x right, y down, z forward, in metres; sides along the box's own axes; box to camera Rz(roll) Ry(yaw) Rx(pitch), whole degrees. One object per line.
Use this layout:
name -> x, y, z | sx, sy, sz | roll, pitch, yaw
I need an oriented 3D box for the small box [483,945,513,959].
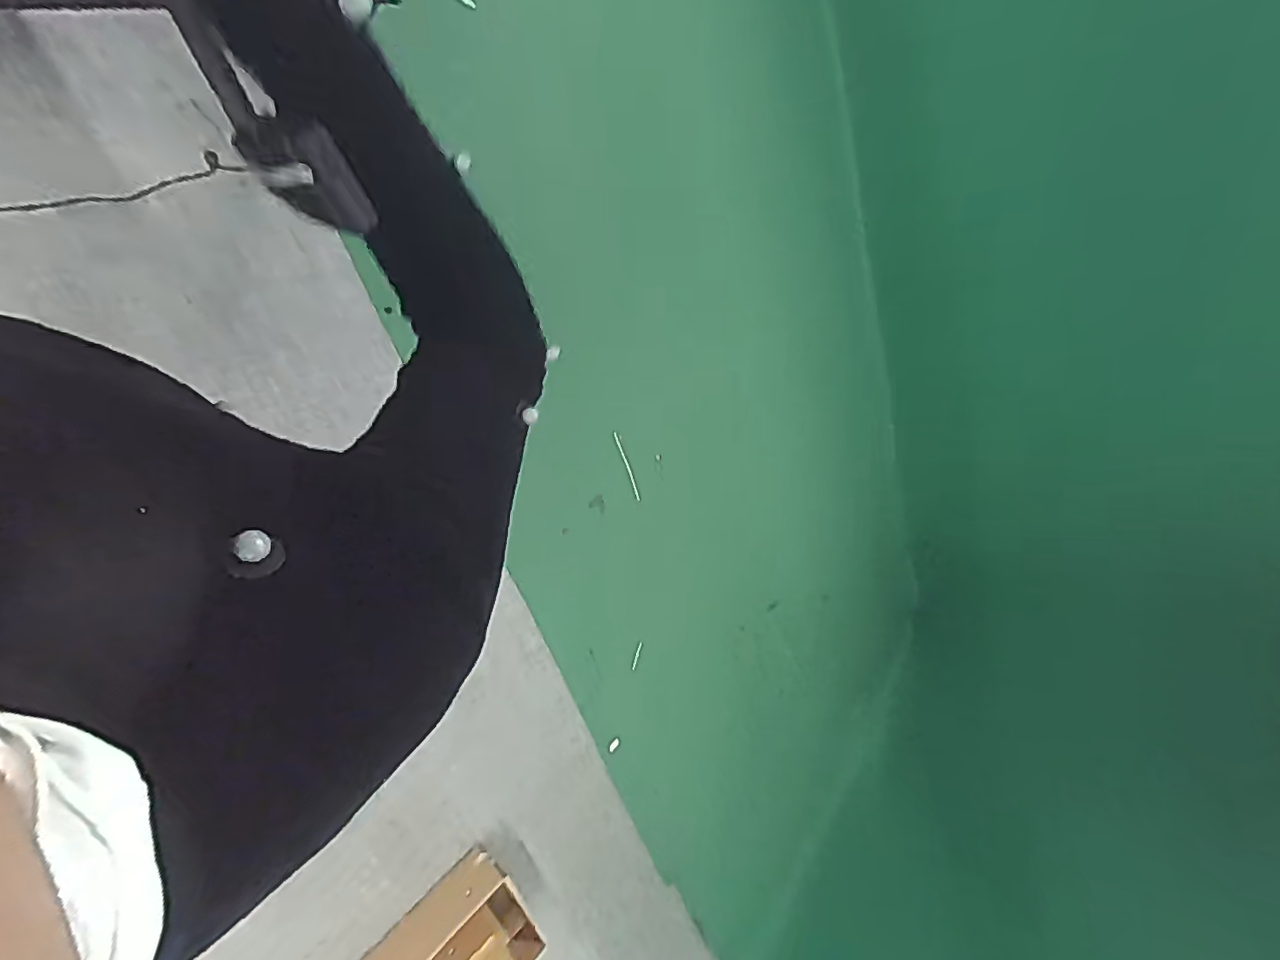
small box -> -0.417, 1.543, 1.600 | 0.168, 0.176, 0.179 | -37, 117, -33
